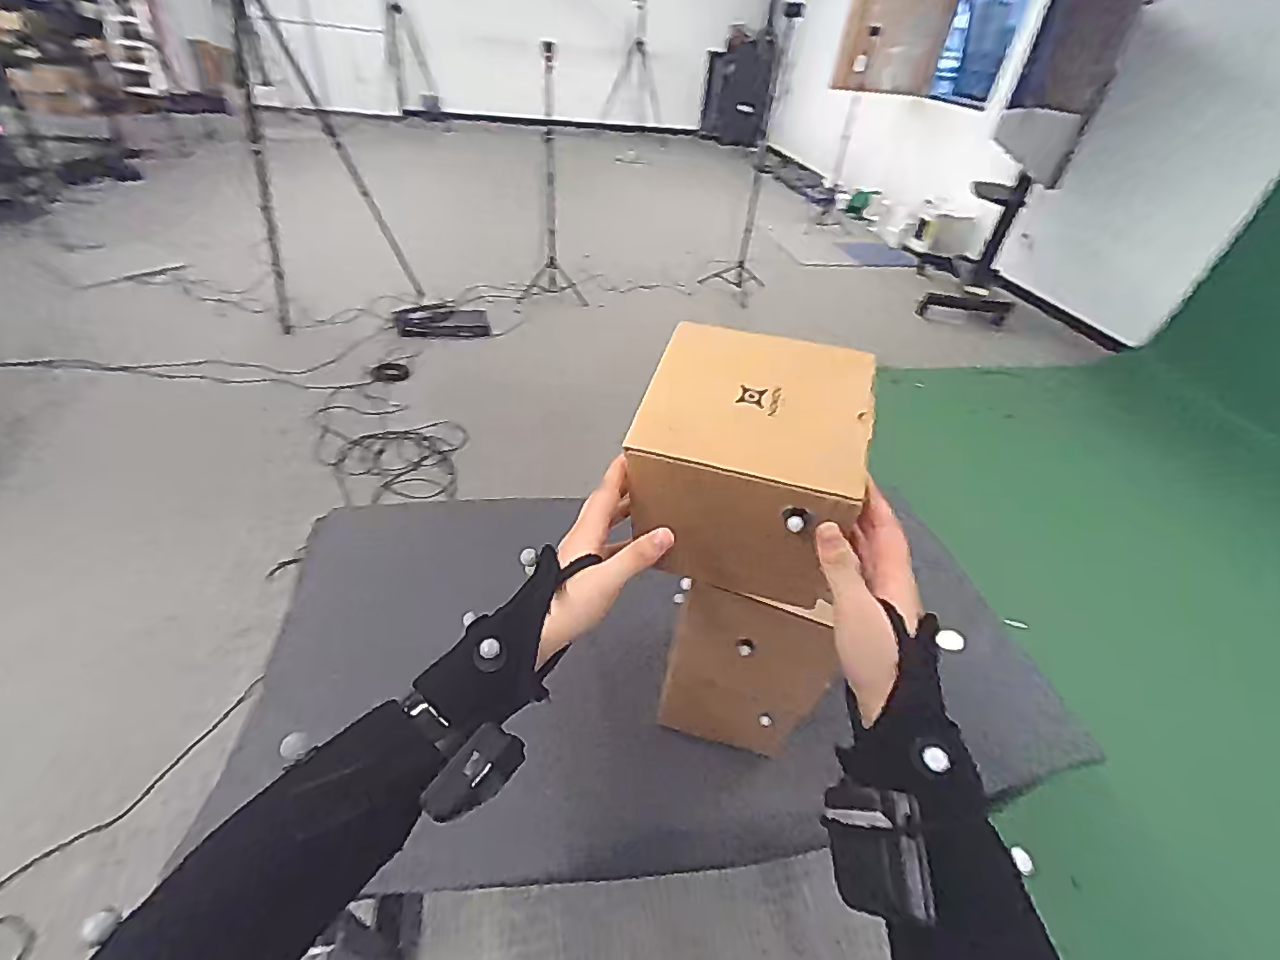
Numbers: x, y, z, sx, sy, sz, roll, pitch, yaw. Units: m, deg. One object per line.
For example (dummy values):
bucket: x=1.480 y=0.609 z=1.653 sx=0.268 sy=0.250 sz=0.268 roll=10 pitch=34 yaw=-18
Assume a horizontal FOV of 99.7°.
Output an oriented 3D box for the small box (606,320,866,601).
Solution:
small box: x=0.083 y=-0.014 z=0.480 sx=0.179 sy=0.176 sz=0.168 roll=13 pitch=53 yaw=12

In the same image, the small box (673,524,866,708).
small box: x=0.153 y=0.147 z=0.658 sx=0.179 sy=0.176 sz=0.168 roll=18 pitch=41 yaw=13
